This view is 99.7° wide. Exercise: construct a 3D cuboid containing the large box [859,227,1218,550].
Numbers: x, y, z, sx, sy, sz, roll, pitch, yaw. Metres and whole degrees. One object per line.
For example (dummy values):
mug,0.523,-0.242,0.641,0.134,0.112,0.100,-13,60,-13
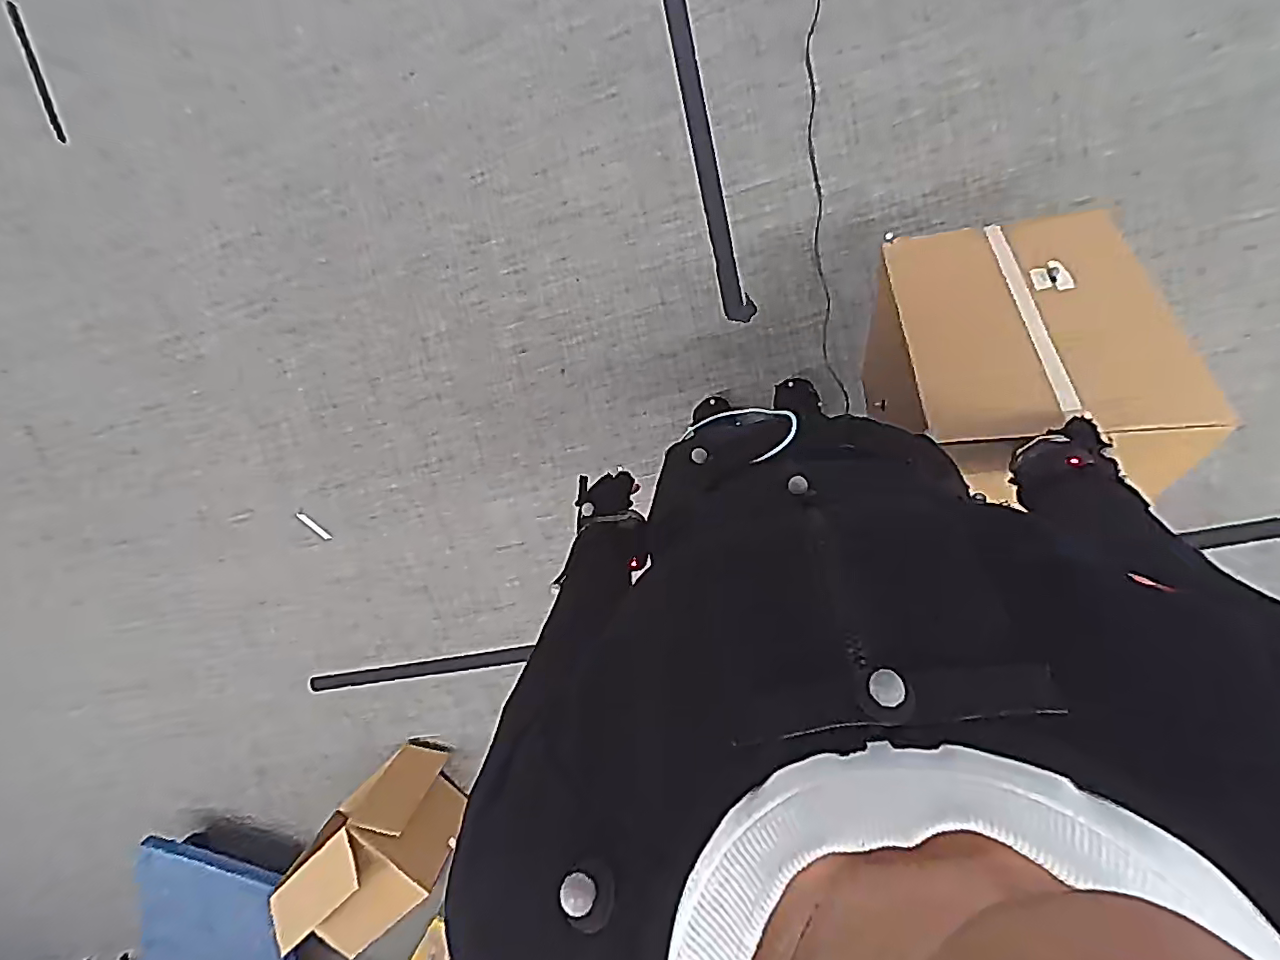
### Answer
large box,0.562,-0.136,0.879,0.320,0.320,0.408,-3,56,11
